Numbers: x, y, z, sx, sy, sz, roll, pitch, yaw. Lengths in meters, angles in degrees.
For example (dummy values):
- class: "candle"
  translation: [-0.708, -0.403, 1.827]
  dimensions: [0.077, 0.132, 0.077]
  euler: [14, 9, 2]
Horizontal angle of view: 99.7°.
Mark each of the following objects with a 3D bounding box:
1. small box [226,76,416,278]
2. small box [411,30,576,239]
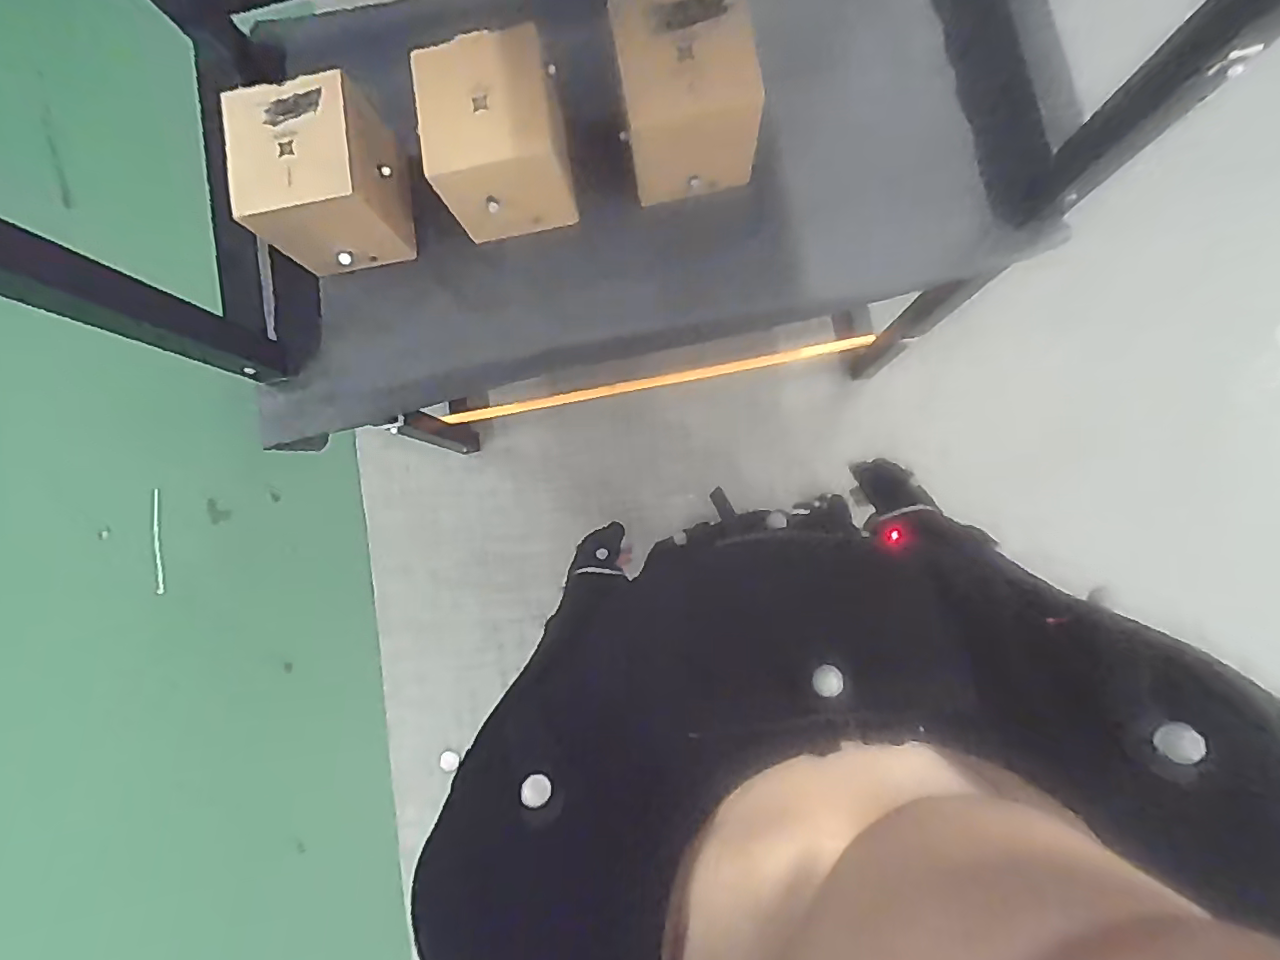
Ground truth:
- class: "small box"
  translation: [-0.443, -0.419, 0.773]
  dimensions: [0.168, 0.176, 0.179]
  euler: [-9, 85, 4]
- class: "small box"
  translation: [-0.194, -0.463, 0.758]
  dimensions: [0.168, 0.176, 0.179]
  euler: [-10, 84, 4]
